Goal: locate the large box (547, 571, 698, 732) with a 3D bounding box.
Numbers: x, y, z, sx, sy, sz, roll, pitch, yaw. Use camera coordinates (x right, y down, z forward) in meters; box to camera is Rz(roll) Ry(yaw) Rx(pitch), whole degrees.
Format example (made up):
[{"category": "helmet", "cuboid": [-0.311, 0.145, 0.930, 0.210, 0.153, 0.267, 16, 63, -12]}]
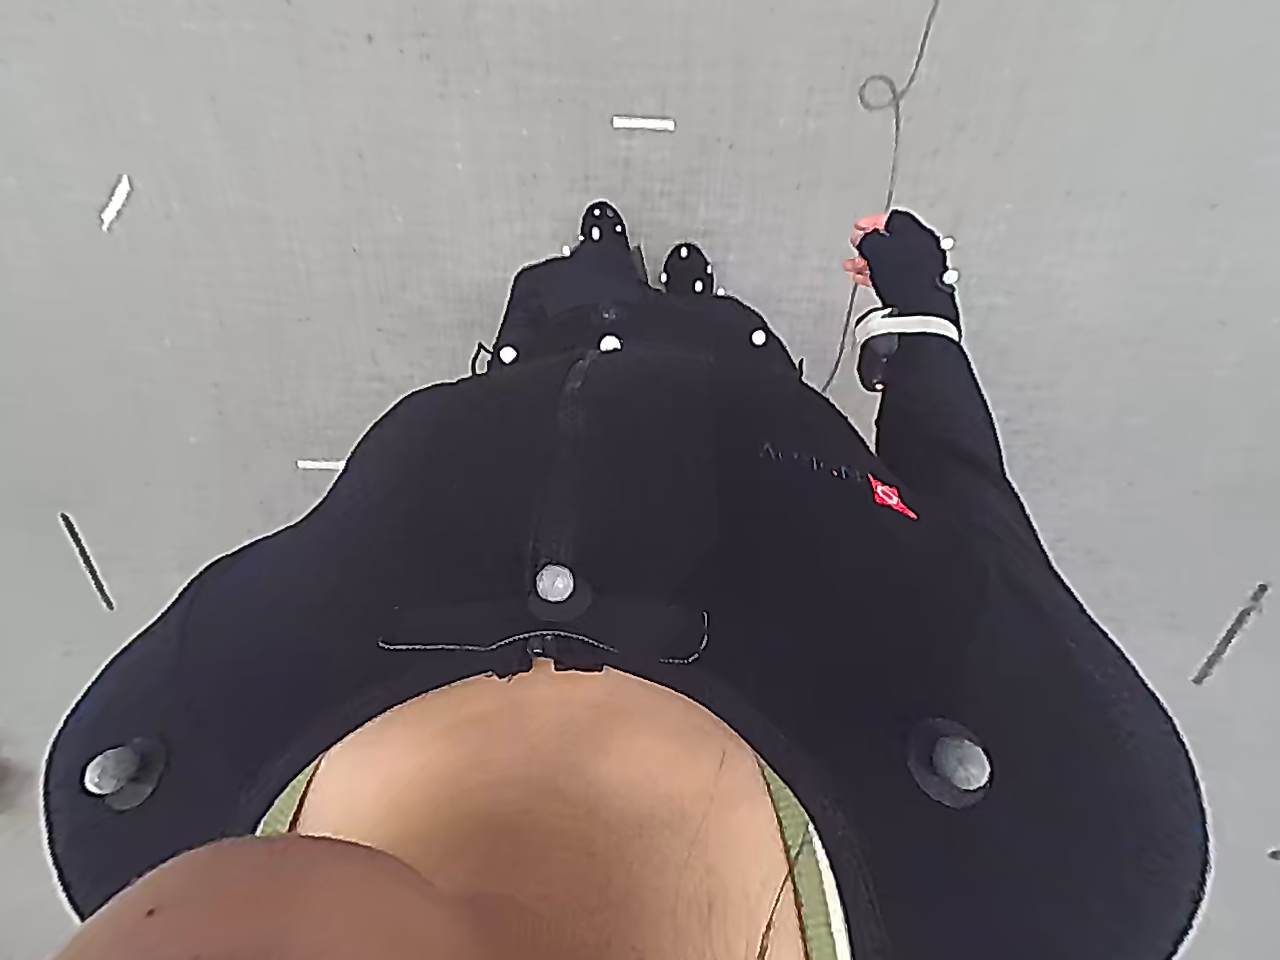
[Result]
[{"category": "large box", "cuboid": [-0.051, 0.519, 1.676, 0.408, 0.320, 0.320, 11, 116, -1]}]
